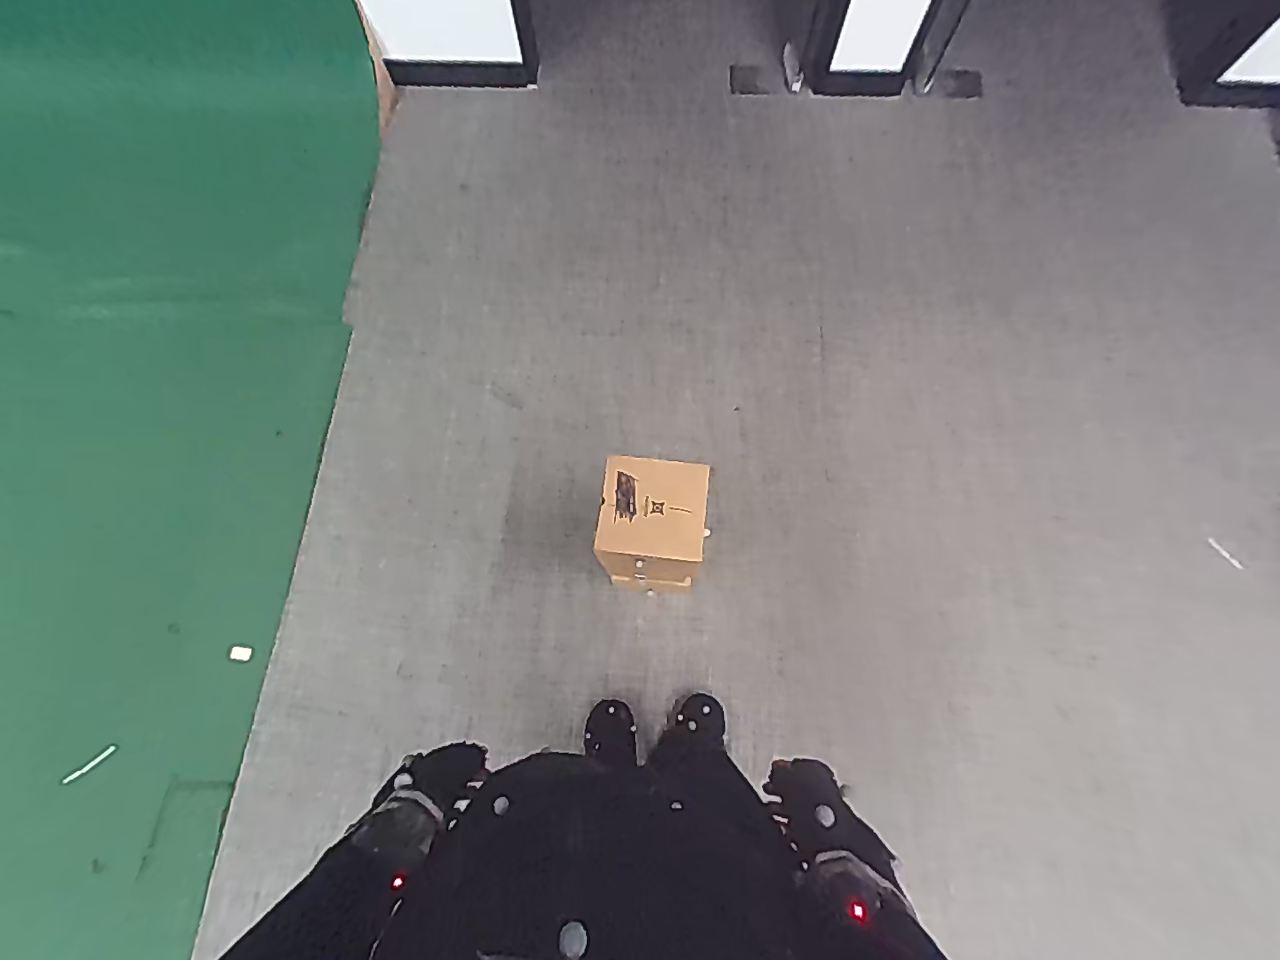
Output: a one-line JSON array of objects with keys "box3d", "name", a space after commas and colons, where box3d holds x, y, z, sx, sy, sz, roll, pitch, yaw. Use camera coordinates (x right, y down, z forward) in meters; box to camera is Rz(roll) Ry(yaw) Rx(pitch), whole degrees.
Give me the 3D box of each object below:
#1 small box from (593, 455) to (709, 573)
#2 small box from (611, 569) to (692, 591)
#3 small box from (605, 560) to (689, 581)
[{"box3d": [0.023, 0.067, 0.964, 0.179, 0.176, 0.168, 6, 73, 4], "name": "small box"}, {"box3d": [0.031, 0.167, 1.276, 0.179, 0.176, 0.168, 5, 73, 2], "name": "small box"}, {"box3d": [0.023, 0.108, 1.124, 0.168, 0.176, 0.179, 4, 74, 4], "name": "small box"}]
